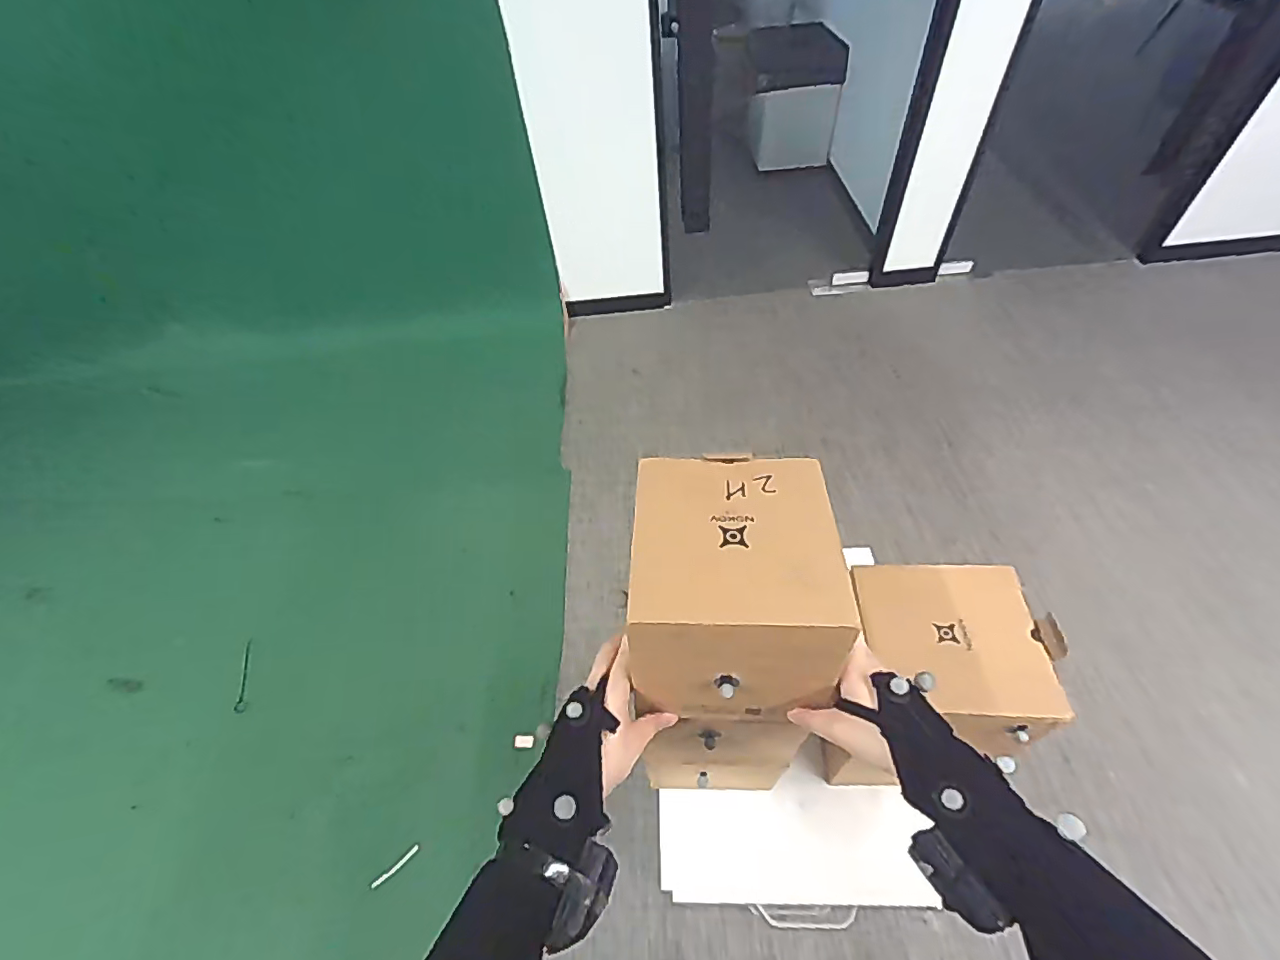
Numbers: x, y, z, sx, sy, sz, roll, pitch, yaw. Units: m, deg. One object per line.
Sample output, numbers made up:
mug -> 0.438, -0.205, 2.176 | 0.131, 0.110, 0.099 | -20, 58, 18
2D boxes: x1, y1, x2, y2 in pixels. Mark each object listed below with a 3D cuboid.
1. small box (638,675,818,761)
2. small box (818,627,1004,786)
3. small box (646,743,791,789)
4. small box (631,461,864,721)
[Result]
small box -> 0.092, 0.222, 0.632 | 0.179, 0.176, 0.168 | -1, 52, 3
small box -> 0.349, 0.314, 0.745 | 0.179, 0.176, 0.168 | -3, 51, 6
small box -> 0.103, 0.327, 0.758 | 0.179, 0.176, 0.168 | -1, 52, 4
small box -> 0.084, 0.101, 0.492 | 0.168, 0.176, 0.179 | 1, 44, 4
